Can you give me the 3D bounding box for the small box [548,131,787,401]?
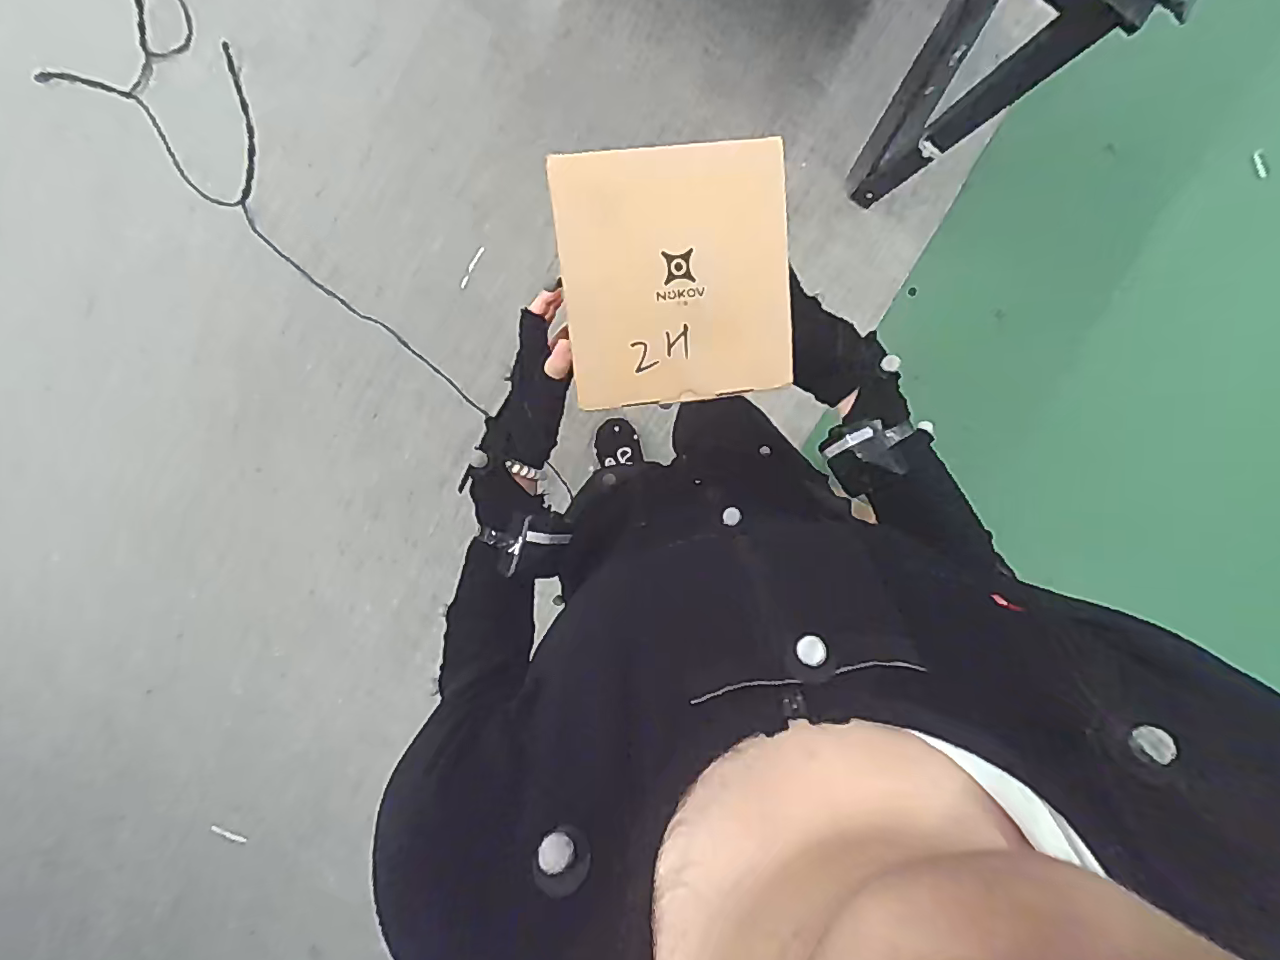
[{"bbox_3d":[0.015,-0.166,0.463,0.168,0.176,0.179,-7,103,-4],"label":"small box"}]
